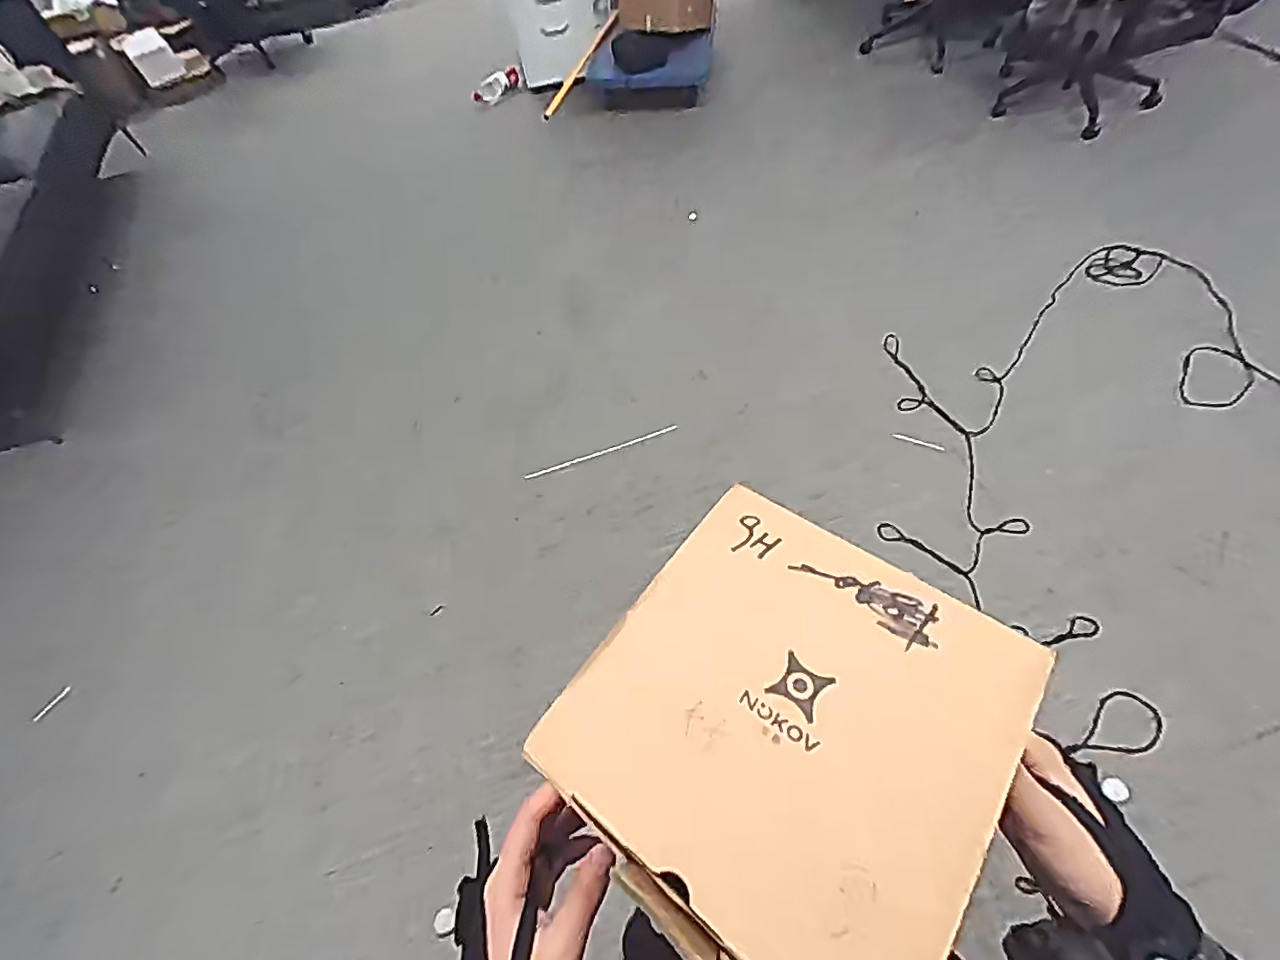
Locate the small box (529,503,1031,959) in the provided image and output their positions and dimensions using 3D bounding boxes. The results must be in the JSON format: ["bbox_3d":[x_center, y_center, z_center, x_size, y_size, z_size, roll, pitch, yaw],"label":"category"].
[{"bbox_3d":[0.072,0.153,0.309,0.168,0.176,0.179,30,62,26],"label":"small box"}]
